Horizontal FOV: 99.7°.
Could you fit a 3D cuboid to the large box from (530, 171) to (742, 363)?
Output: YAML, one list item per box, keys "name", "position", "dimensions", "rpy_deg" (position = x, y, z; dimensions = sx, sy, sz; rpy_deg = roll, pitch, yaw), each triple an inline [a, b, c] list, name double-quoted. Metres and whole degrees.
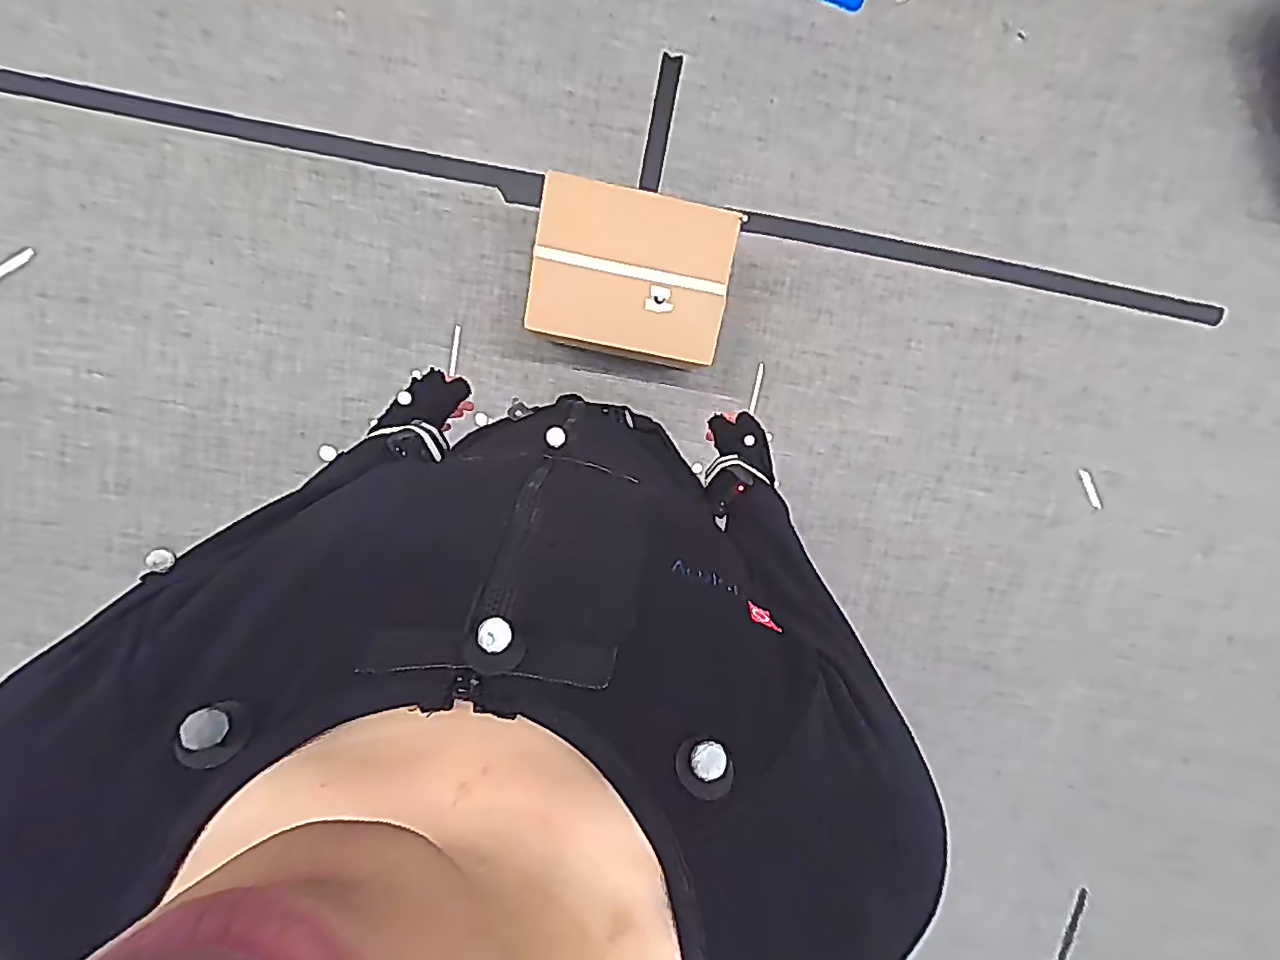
- name: "large box"
  position: [-0.021, -0.463, 1.260]
  dimensions: [0.408, 0.320, 0.320]
  rpy_deg: [10, 100, -5]
